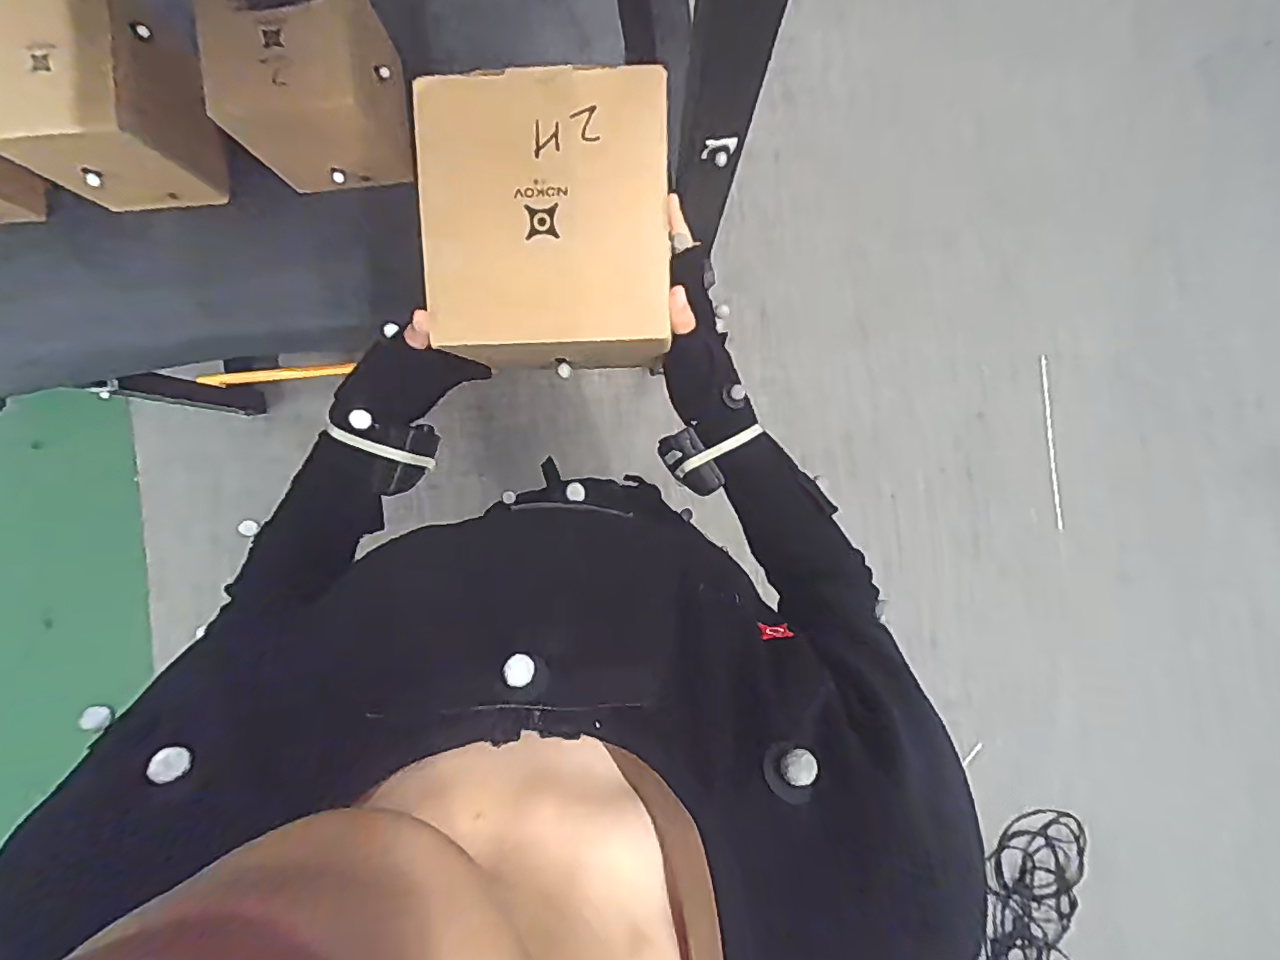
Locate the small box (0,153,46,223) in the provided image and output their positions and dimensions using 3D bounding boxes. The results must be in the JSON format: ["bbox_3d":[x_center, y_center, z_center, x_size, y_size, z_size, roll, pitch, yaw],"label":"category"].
[{"bbox_3d":[-0.915,-0.445,0.675,0.168,0.176,0.179,-5,91,0],"label":"small box"}]

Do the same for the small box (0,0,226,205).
[{"bbox_3d":[-0.663,-0.468,0.680,0.168,0.176,0.179,-5,90,-1],"label":"small box"}]
